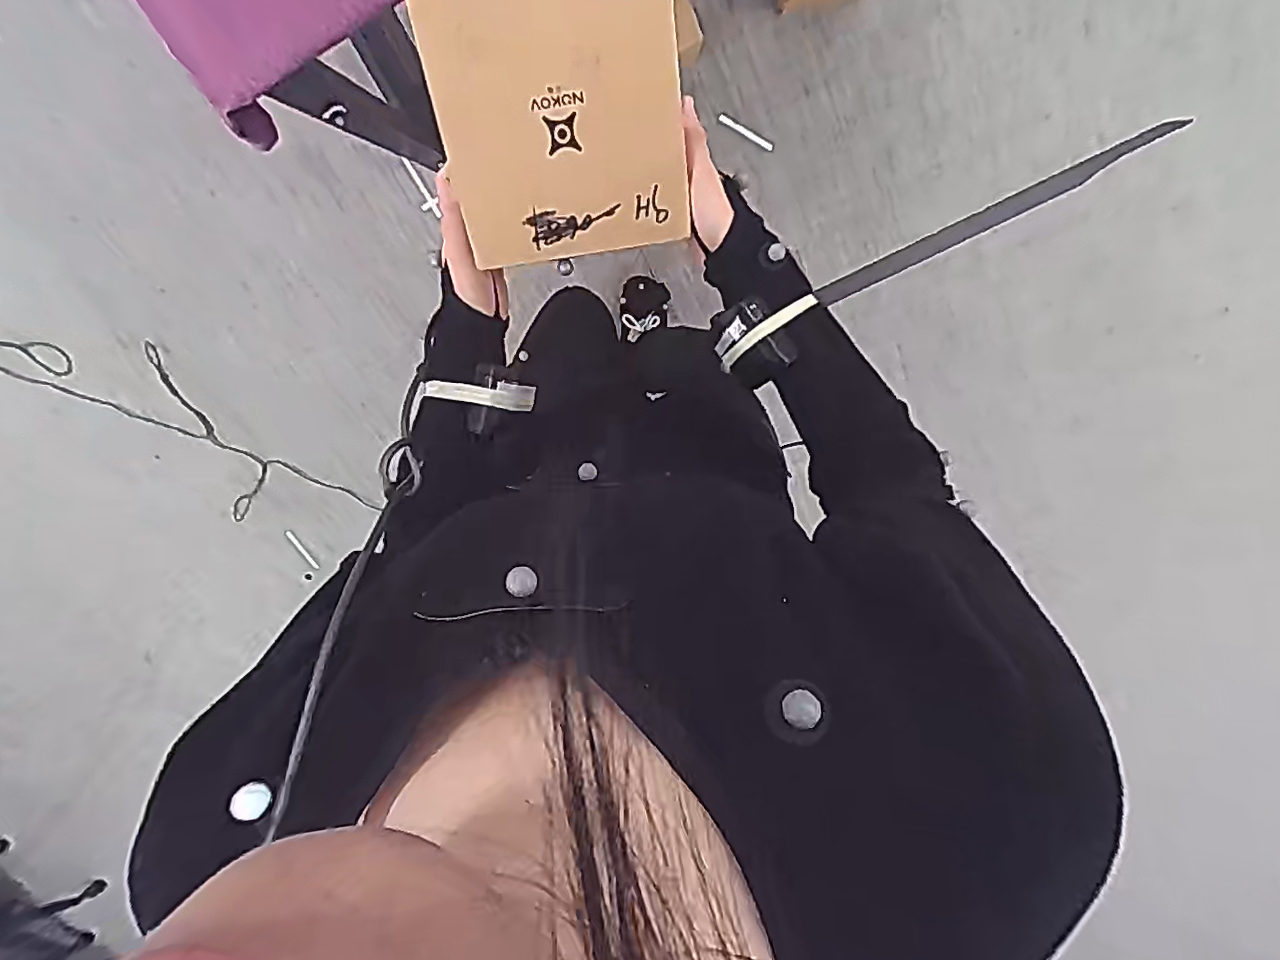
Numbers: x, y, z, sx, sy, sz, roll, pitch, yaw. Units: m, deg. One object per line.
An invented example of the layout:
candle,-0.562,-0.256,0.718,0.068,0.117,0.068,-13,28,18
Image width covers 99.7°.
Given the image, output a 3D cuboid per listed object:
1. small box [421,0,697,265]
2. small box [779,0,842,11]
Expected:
small box,-0.053,-0.282,0.434,0.168,0.176,0.179,-8,118,0
small box,0.370,-1.040,1.031,0.179,0.176,0.168,-9,113,4
